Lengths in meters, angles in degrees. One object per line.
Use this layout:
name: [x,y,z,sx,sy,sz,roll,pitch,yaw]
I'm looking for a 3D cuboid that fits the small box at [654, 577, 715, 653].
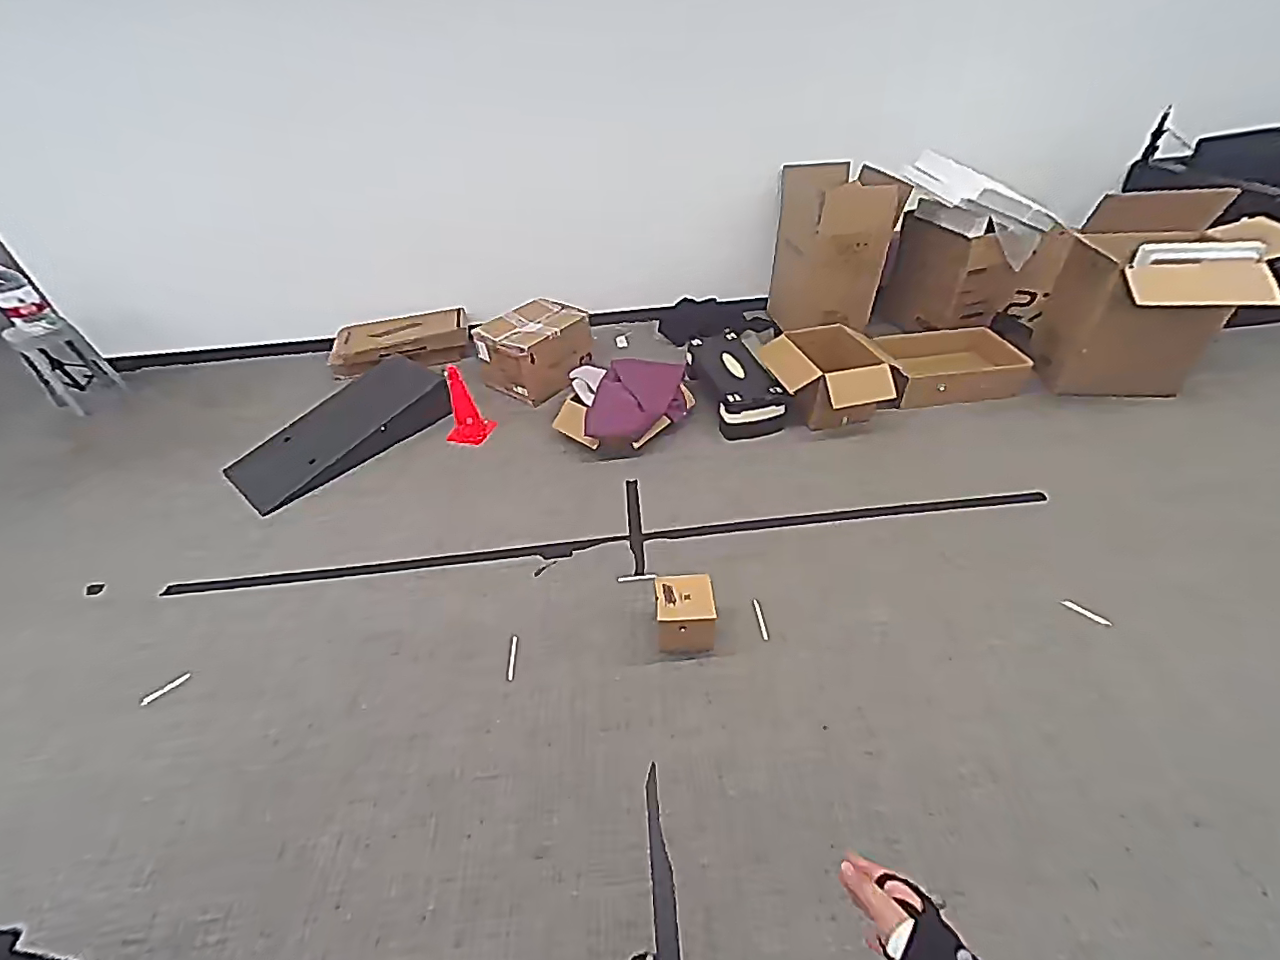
small box: [0.136,0.425,1.691,0.179,0.176,0.168,-3,41,0]
